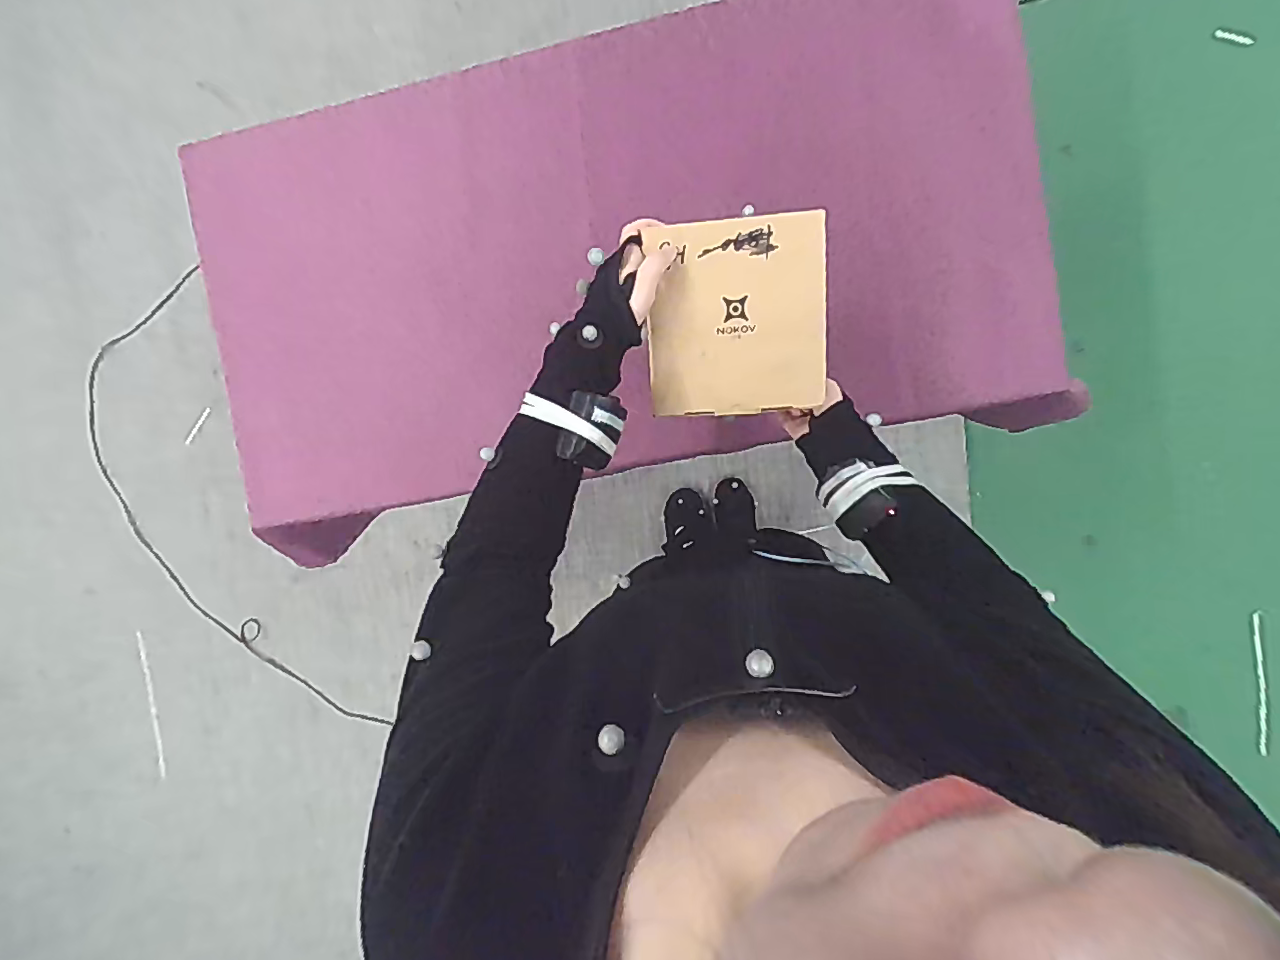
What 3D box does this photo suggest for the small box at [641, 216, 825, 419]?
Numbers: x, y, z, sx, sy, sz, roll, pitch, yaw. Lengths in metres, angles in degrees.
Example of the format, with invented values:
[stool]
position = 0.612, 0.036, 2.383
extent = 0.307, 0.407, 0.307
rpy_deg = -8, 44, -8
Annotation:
[small box]
position = 0.092, -0.163, 0.575
extent = 0.168, 0.176, 0.179
rpy_deg = -2, 102, 5
